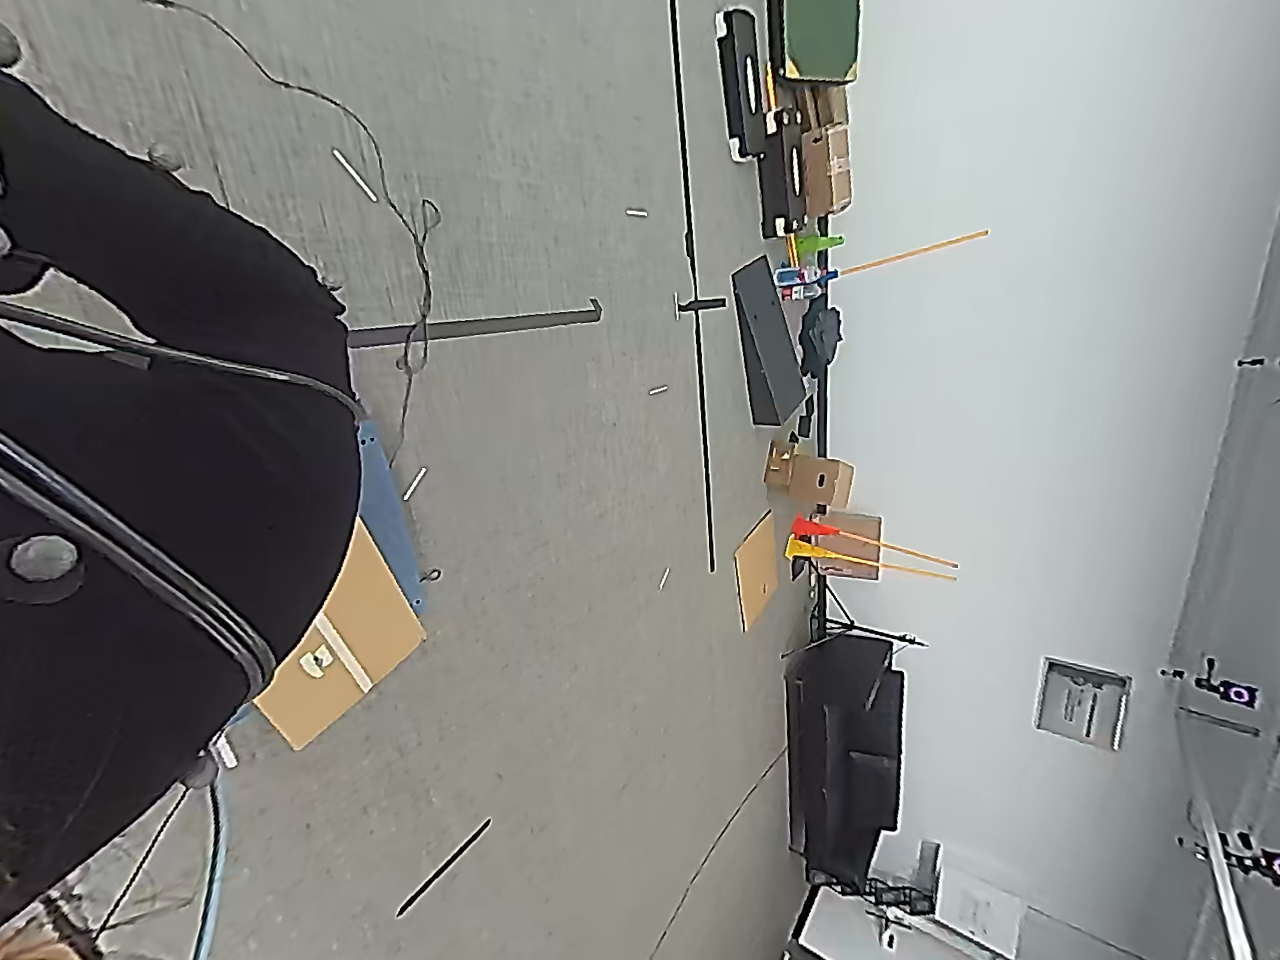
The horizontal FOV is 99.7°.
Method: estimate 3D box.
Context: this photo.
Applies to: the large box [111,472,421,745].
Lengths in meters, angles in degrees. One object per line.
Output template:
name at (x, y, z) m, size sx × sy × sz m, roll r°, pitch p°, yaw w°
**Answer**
large box at (-0.740, 0.241, 1.109) m, size 0.320 × 0.320 × 0.408 m, roll -42°, pitch 130°, yaw -41°
